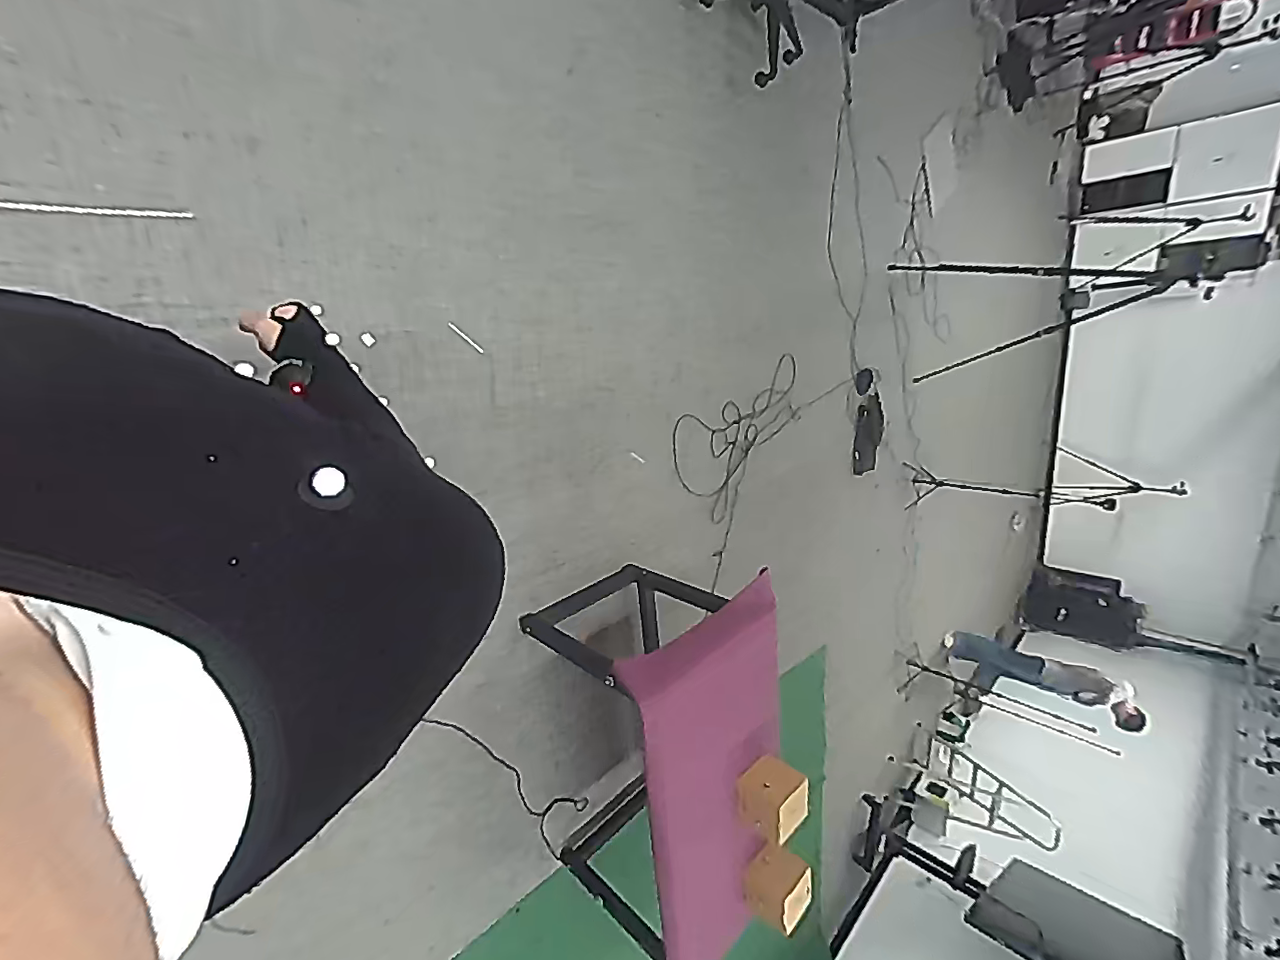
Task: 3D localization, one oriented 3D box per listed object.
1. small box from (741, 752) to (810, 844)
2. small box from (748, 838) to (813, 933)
[{"bbox_3d":[0.462,1.083,1.855,0.179,0.176,0.168,-16,110,-41],"label":"small box"},{"bbox_3d":[0.509,1.471,1.973,0.179,0.176,0.168,-19,110,-39],"label":"small box"}]
